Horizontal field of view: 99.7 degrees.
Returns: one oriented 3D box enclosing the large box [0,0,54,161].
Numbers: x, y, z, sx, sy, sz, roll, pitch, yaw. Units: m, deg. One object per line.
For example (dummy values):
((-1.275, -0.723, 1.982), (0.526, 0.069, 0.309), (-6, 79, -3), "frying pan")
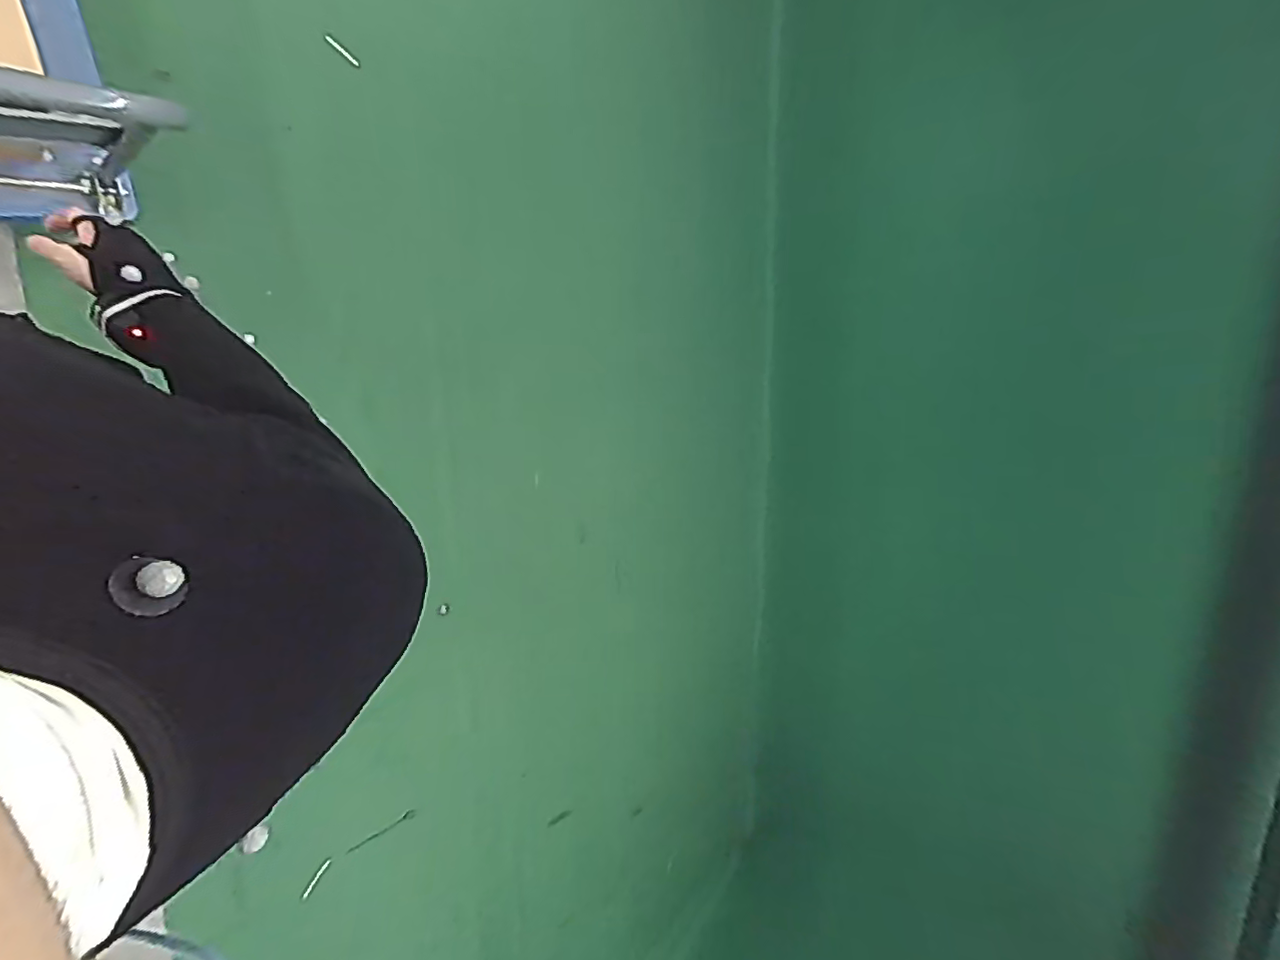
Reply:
((-1.073, -0.701, 0.714), (0.320, 0.320, 0.408), (-22, 112, -46), "large box")
